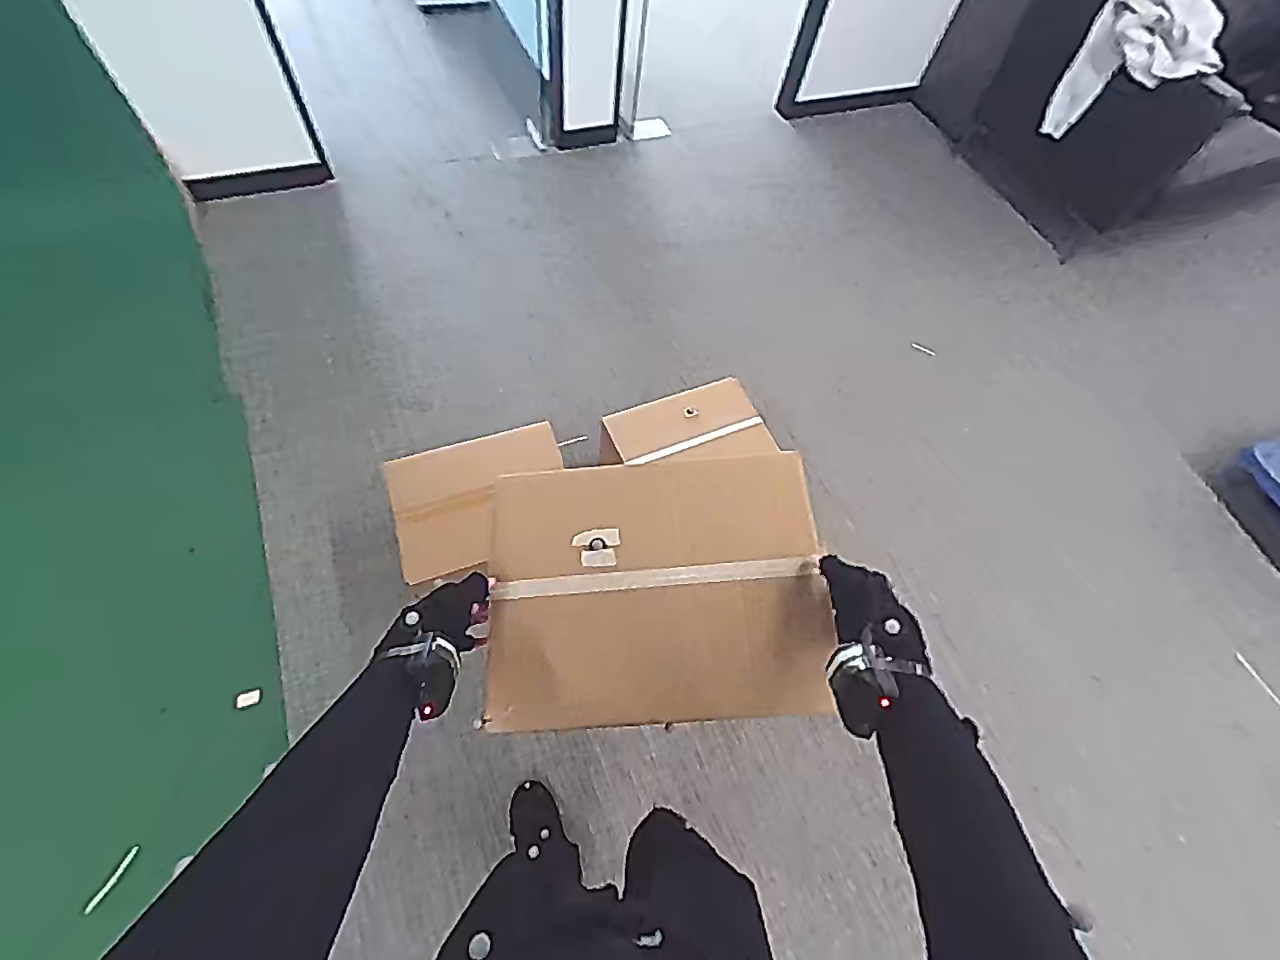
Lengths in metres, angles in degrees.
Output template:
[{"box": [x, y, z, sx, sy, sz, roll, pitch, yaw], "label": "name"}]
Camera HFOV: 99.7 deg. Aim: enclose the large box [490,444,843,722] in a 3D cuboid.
[{"box": [0.031, 0.165, 0.791, 0.408, 0.320, 0.320, -5, 68, 4], "label": "large box"}]
